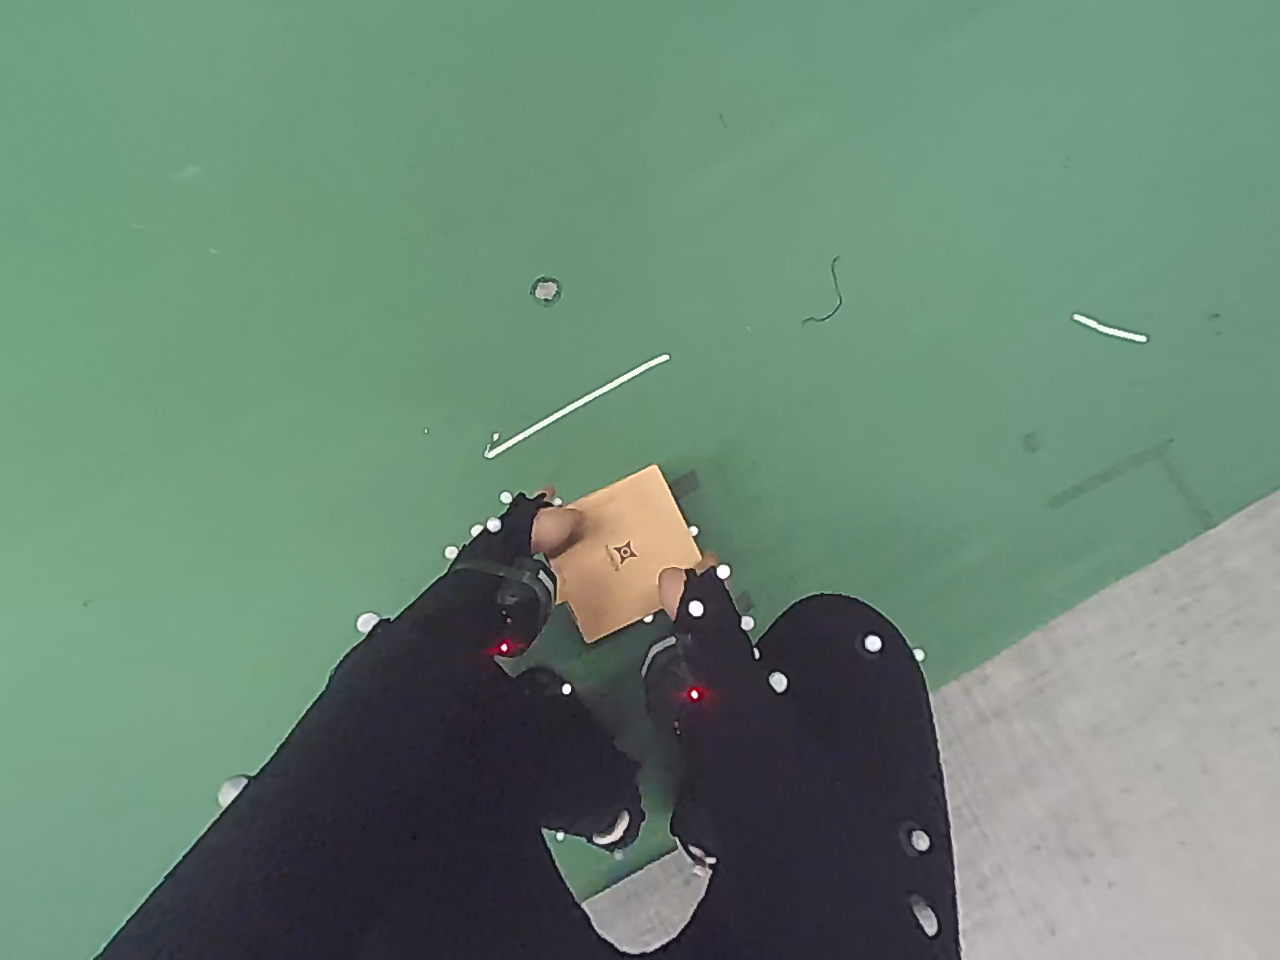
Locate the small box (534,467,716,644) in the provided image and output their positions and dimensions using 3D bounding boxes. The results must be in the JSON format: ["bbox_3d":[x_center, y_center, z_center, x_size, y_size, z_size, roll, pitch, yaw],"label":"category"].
[{"bbox_3d":[-0.020,0.091,0.733,0.179,0.176,0.168,-25,90,-1],"label":"small box"}]
